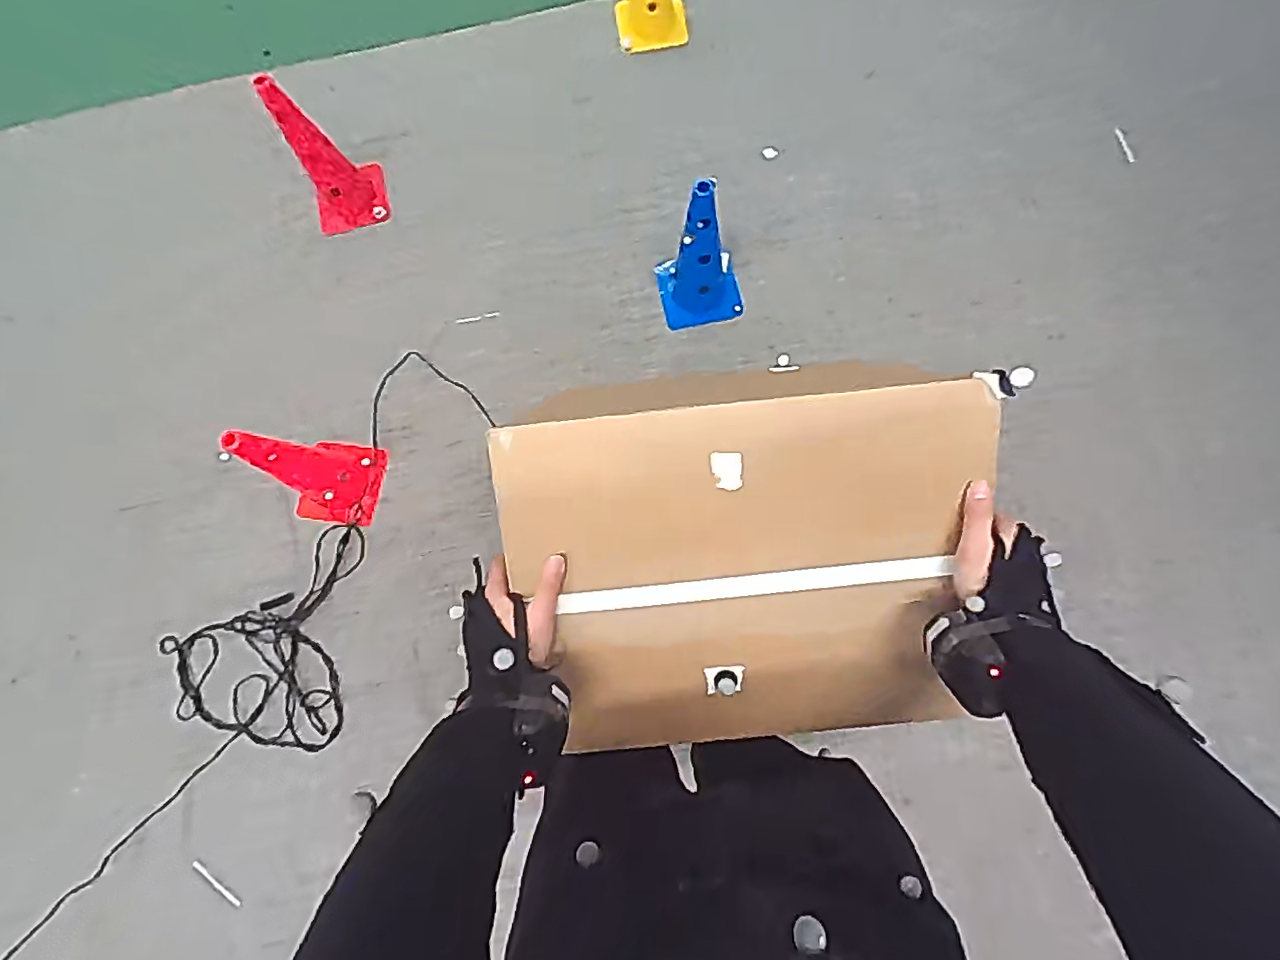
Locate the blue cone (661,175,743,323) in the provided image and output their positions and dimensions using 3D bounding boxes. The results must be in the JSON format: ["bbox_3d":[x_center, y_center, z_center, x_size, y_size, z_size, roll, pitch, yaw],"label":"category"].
[{"bbox_3d":[0.144,-0.539,1.242,0.192,0.380,0.193,-10,76,2],"label":"blue cone"}]

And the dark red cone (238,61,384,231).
[{"bbox_3d":[-0.840,-0.849,1.368,0.202,0.394,0.201,-18,72,0],"label":"dark red cone"}]

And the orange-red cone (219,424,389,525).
[{"bbox_3d":[-0.753,-0.040,1.178,0.199,0.360,0.198,8,76,8],"label":"orange-red cone"}]
